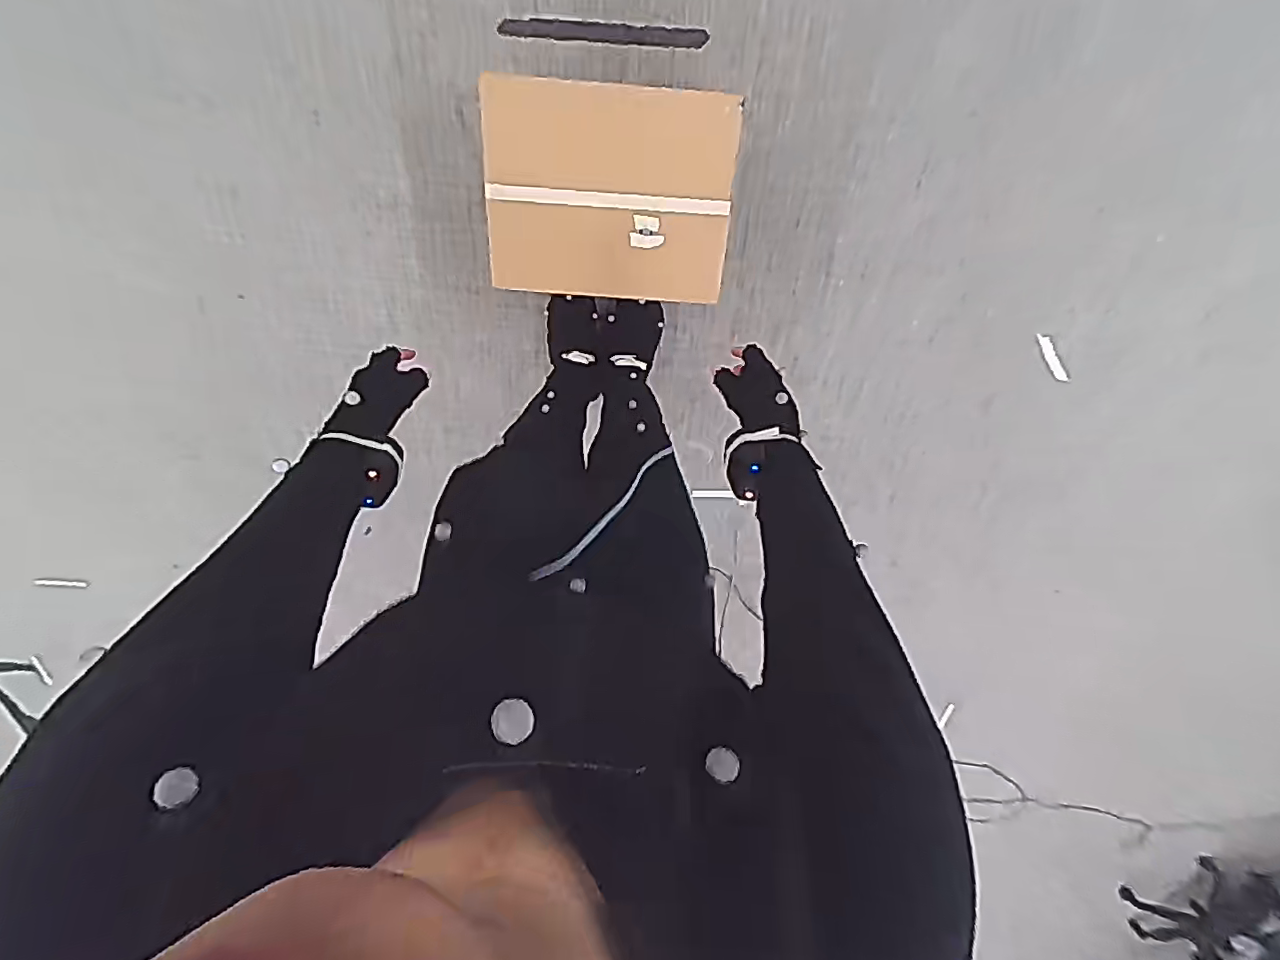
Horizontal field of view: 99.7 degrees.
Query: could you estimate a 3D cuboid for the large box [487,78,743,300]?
[{"bbox_3d":[-0.049,-0.541,1.034,0.408,0.320,0.320,3,120,-3],"label":"large box"}]
